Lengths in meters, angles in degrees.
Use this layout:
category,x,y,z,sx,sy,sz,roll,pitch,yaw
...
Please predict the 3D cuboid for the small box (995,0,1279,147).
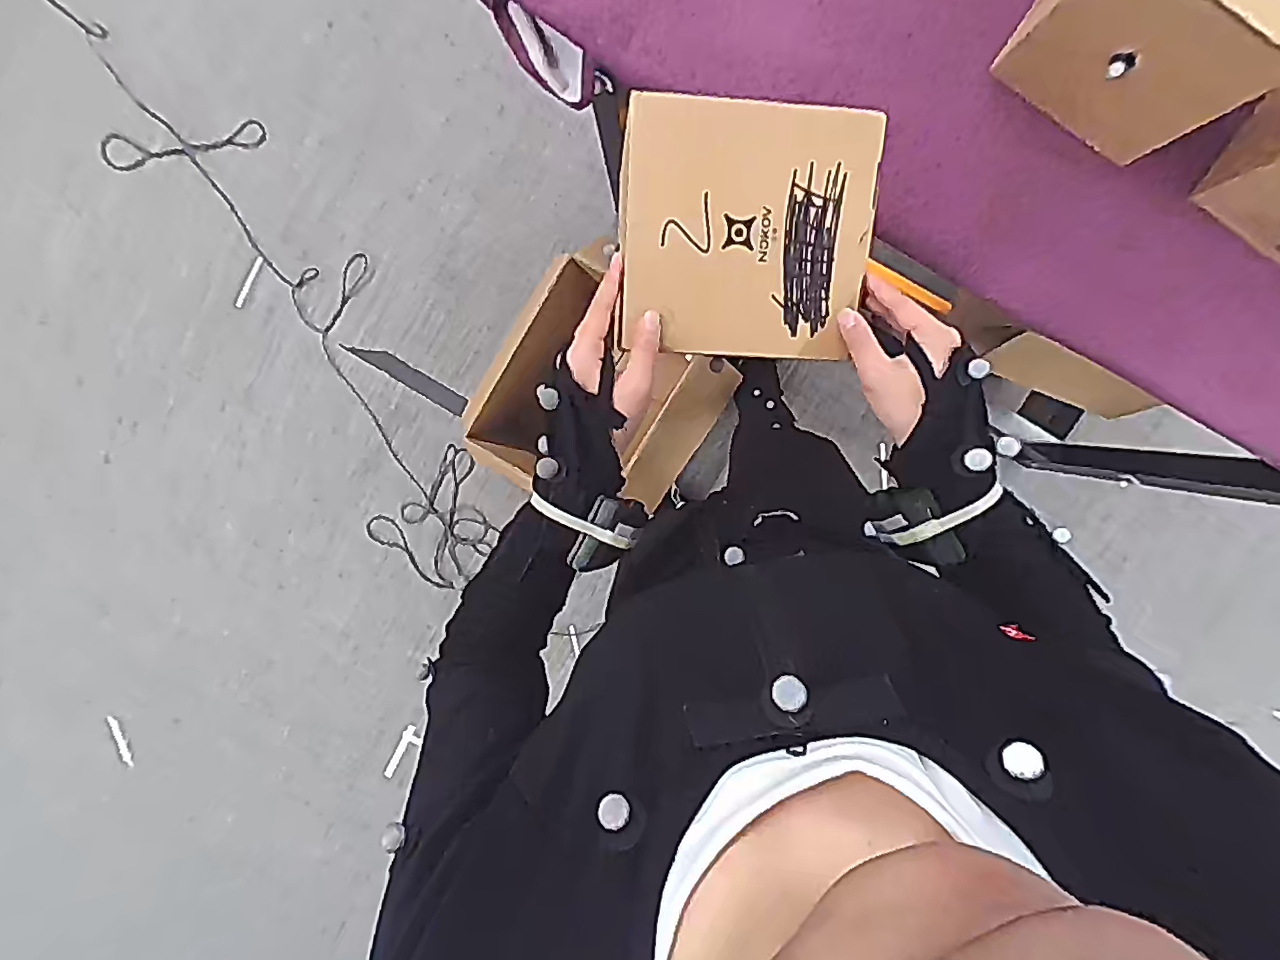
category,x,y,z,sx,sy,sz,roll,pitch,yaw
small box,0.470,-0.432,0.469,0.179,0.176,0.168,34,98,-1
